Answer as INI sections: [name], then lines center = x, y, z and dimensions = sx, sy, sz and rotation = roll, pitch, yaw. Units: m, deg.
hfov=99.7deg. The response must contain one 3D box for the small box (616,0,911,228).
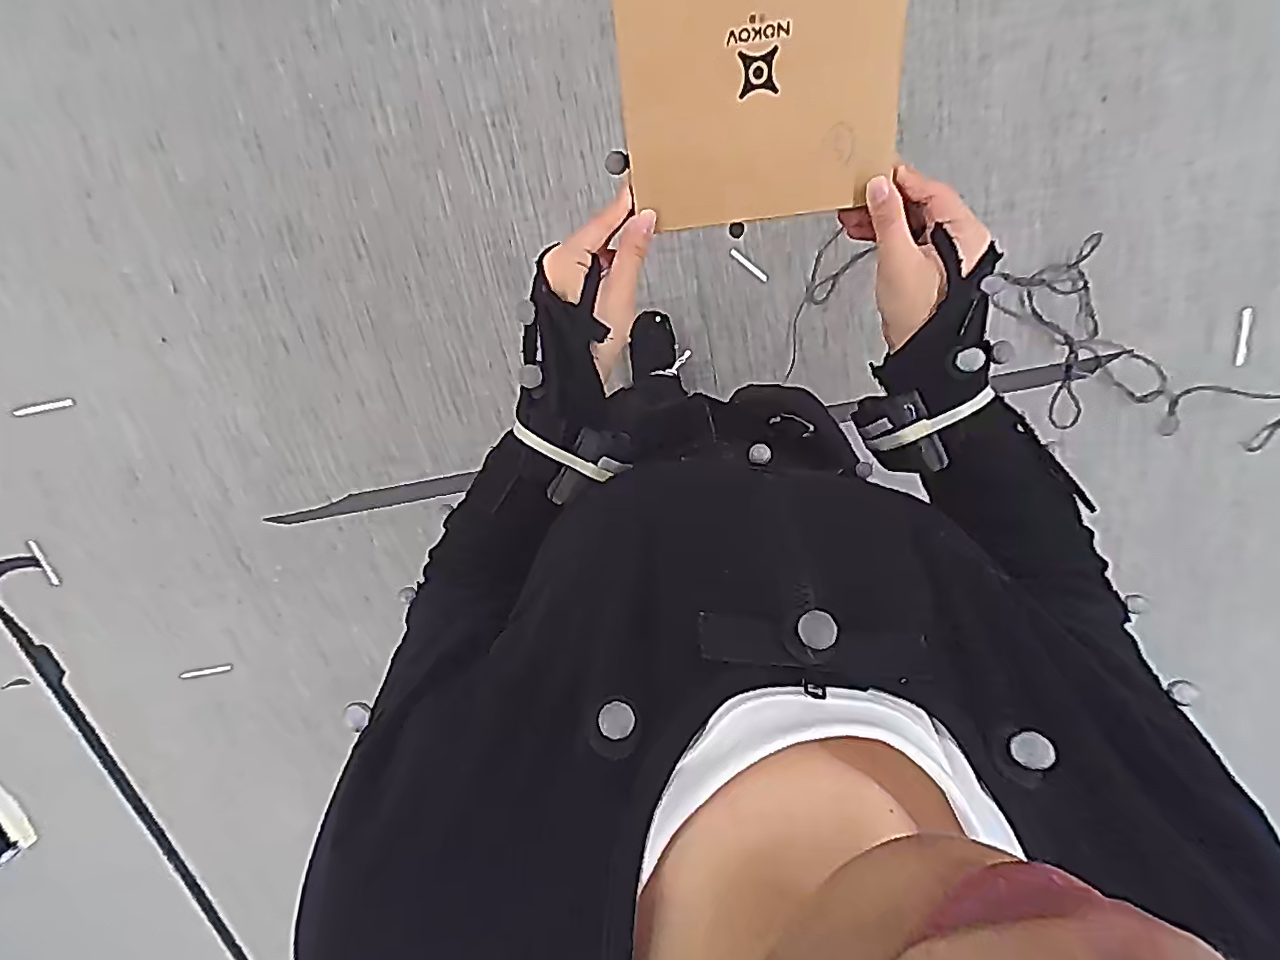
[small box]
center = 0.074, -0.287, 0.382
dimensions = 0.168, 0.176, 0.179
rotation = -5, 117, 5
